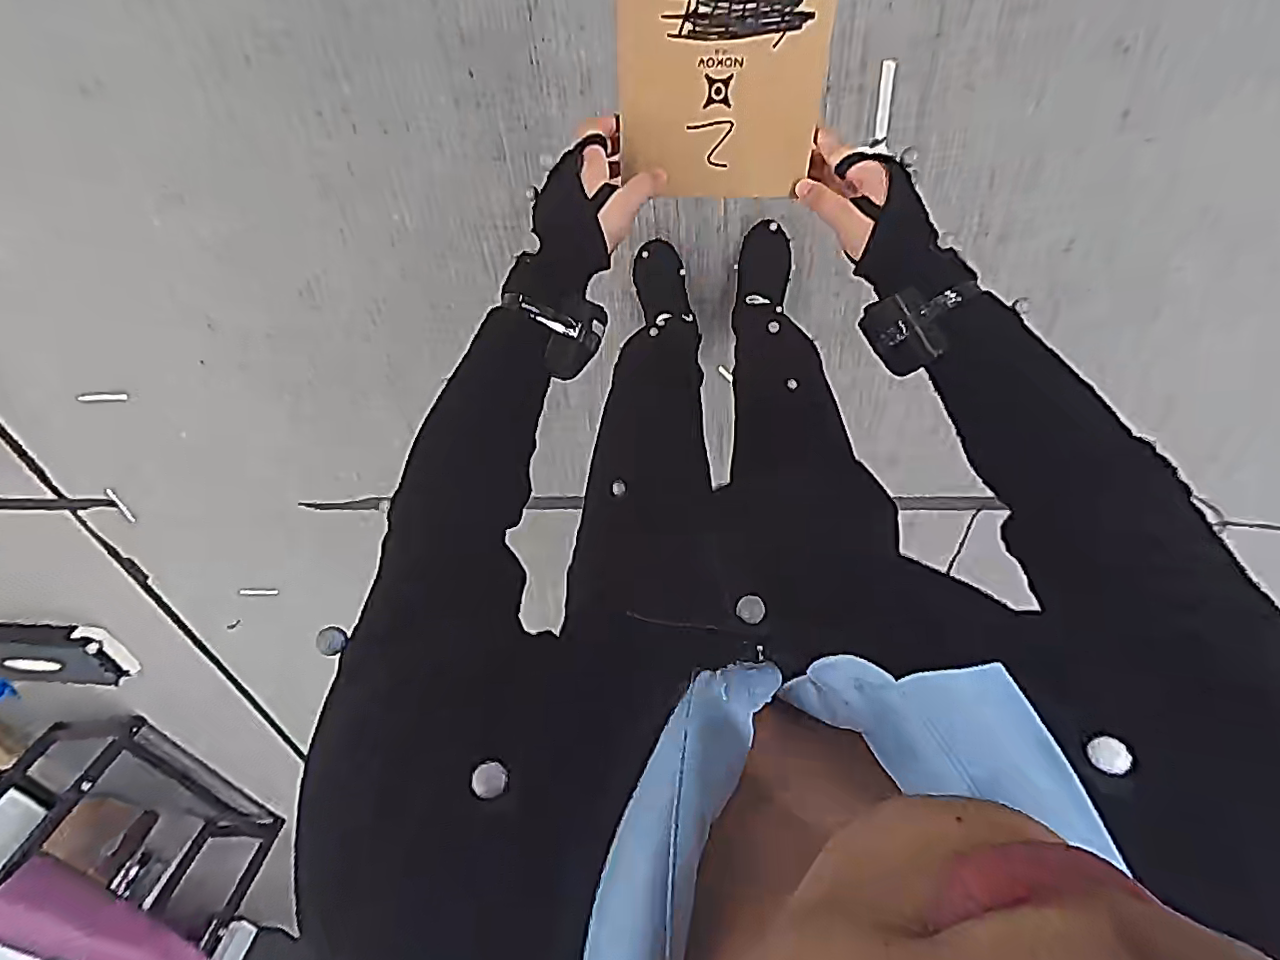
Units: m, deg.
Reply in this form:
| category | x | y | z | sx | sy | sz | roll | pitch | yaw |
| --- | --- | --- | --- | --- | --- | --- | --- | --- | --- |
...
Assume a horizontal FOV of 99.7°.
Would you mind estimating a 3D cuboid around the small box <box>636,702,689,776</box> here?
| category | x | y | z | sx | sy | sz | roll | pitch | yaw |
| --- | --- | --- | --- | --- | --- | --- | --- | --- | --- |
| small box | 0.081 | 0.888 | 1.853 | 0.168 | 0.176 | 0.179 | -3 | 126 | 7 |
